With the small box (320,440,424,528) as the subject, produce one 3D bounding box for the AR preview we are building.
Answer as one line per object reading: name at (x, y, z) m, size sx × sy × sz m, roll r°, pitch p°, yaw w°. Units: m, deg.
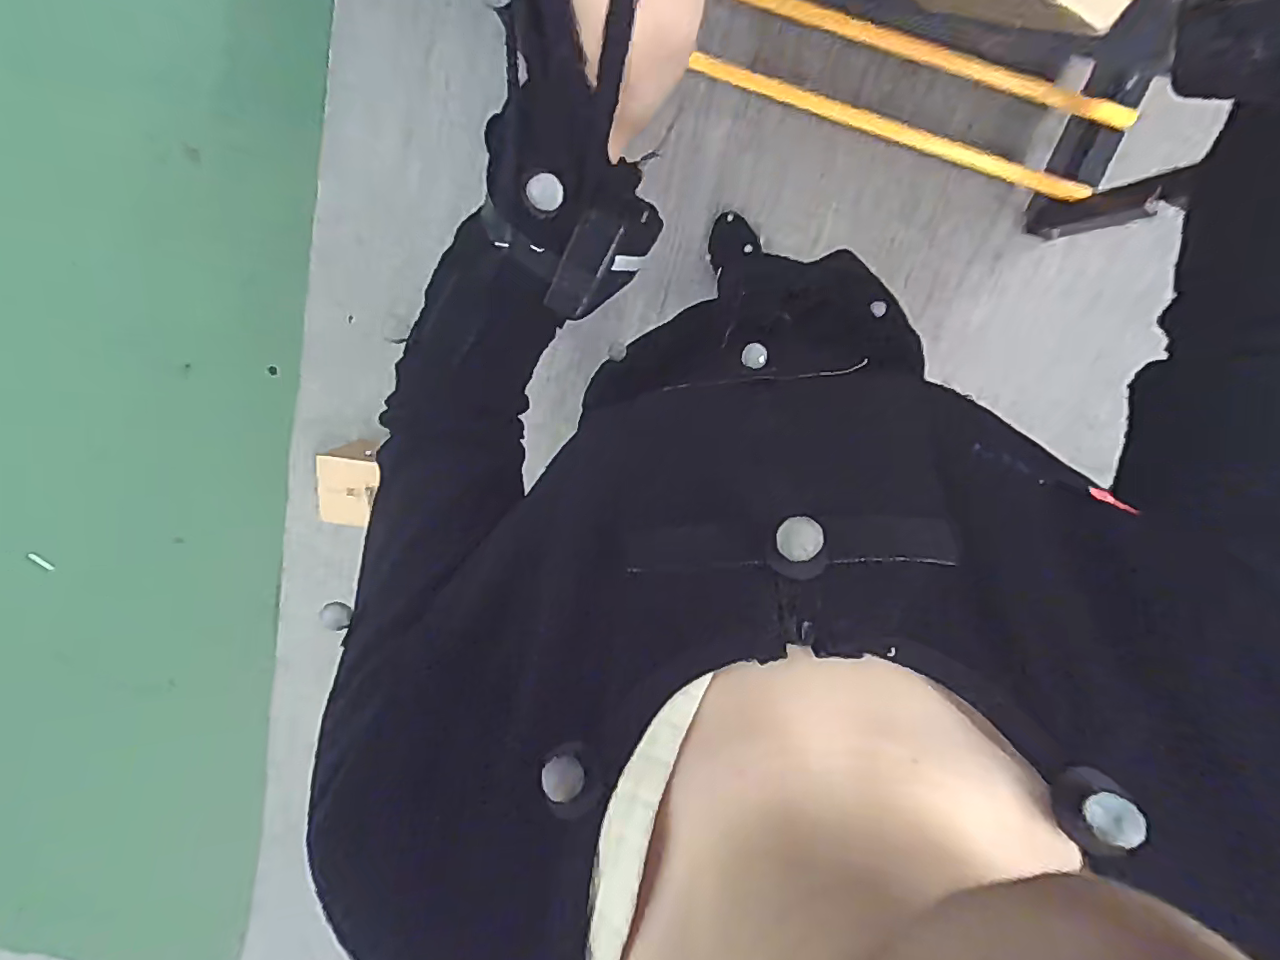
small box at (-0.648, 0.004, 1.327) m, size 0.179 × 0.176 × 0.168 m, roll 7°, pitch 107°, yaw 2°
